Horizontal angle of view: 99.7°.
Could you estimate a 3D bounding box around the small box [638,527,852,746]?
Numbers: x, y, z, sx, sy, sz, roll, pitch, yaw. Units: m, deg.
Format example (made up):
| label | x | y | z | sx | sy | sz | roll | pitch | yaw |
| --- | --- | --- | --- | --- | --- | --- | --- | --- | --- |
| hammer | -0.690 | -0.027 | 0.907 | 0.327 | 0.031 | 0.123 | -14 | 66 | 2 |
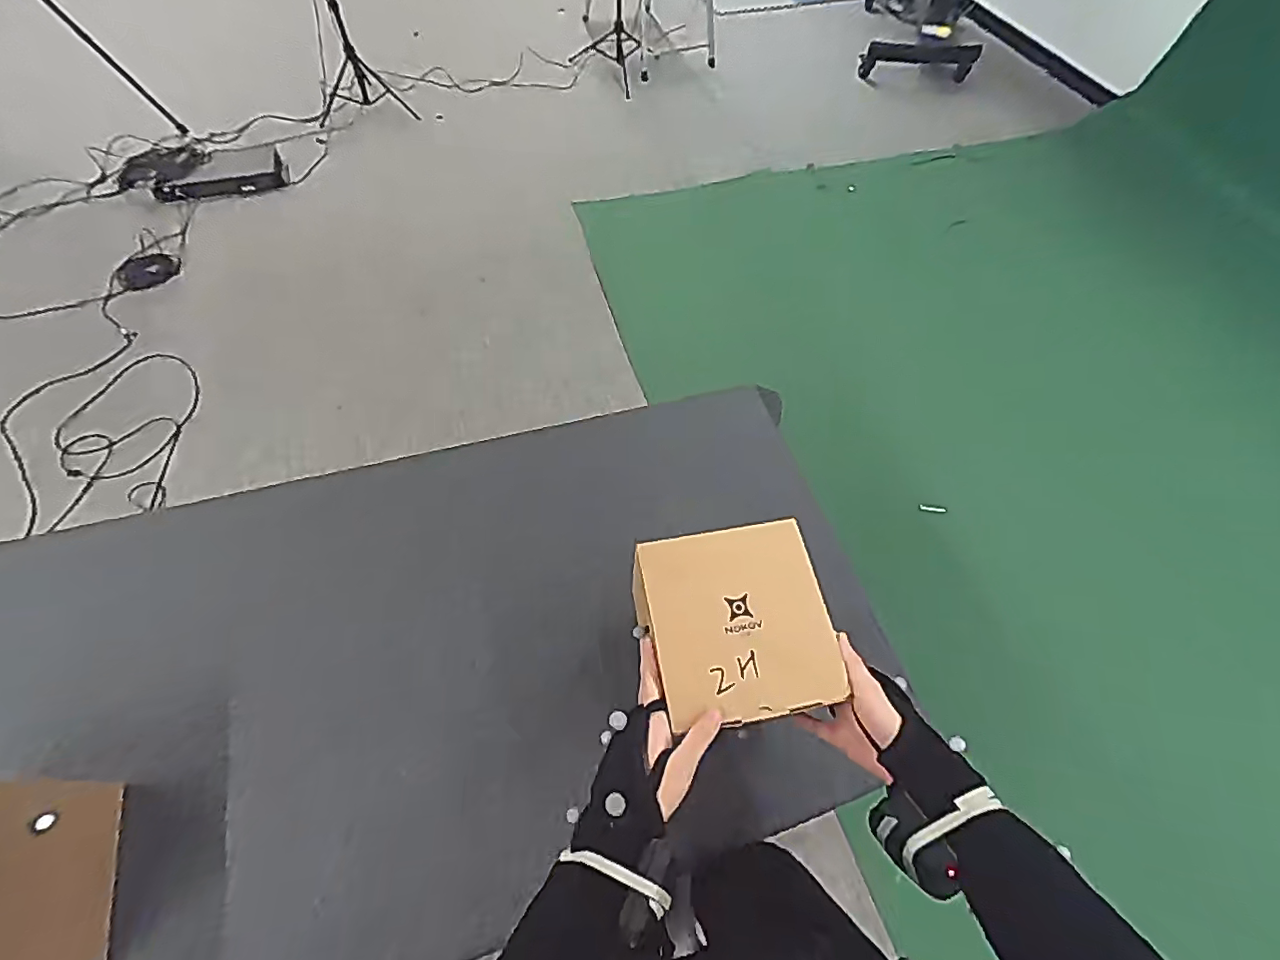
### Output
| label | x | y | z | sx | sy | sz | roll | pitch | yaw |
| --- | --- | --- | --- | --- | --- | --- | --- | --- | --- |
| small box | 0.092 | 0.173 | 0.578 | 0.168 | 0.176 | 0.179 | -10 | 63 | -5 |
